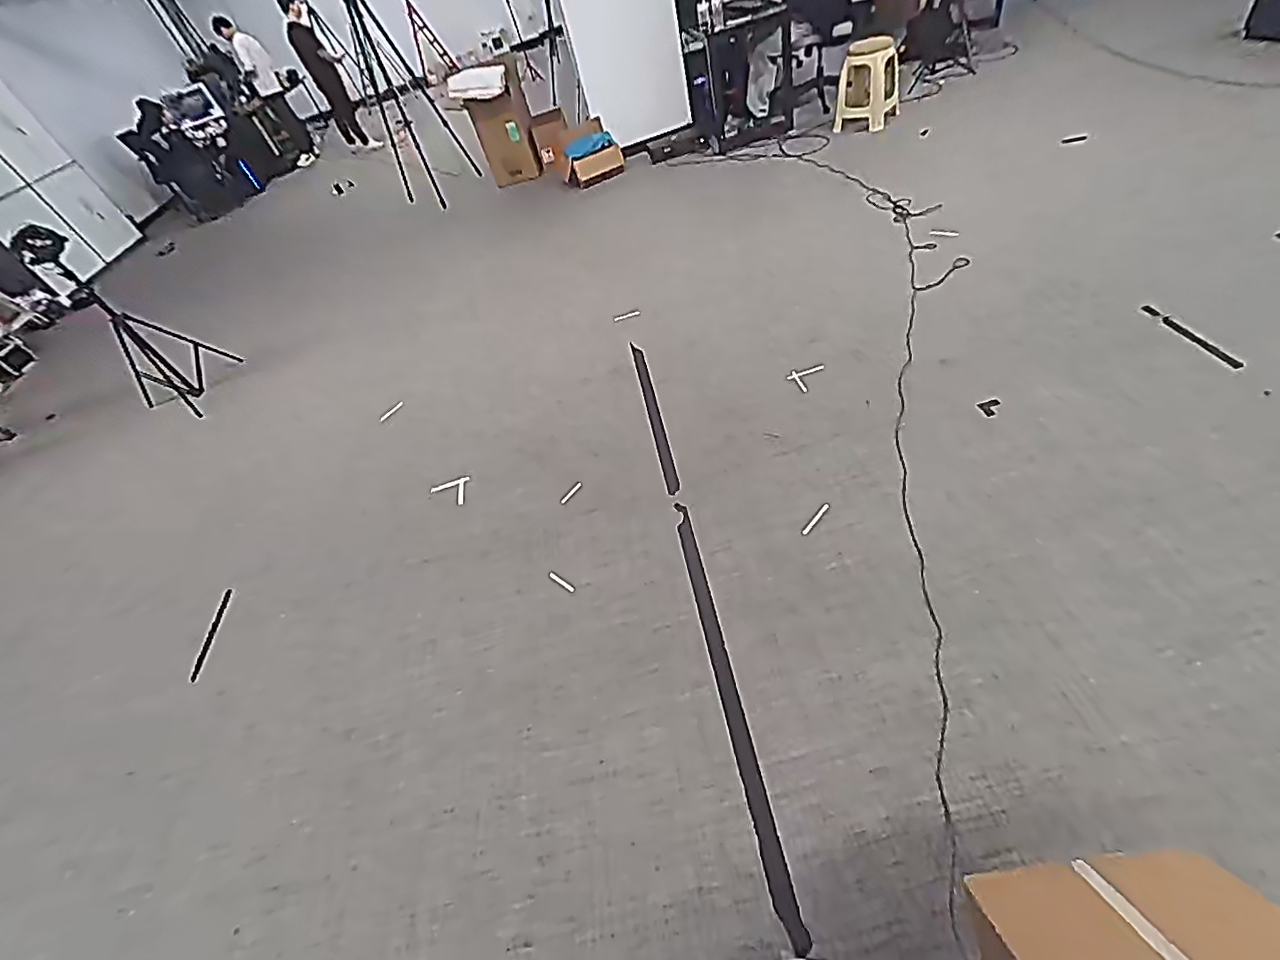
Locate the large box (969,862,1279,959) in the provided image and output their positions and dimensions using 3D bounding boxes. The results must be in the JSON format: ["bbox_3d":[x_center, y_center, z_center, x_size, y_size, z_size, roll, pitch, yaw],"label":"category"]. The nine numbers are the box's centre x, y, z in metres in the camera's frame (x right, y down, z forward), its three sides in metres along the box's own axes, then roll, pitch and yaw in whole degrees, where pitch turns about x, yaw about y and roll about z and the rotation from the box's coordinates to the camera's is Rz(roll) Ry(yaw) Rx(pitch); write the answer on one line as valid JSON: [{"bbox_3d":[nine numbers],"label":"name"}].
[{"bbox_3d":[0.617,0.684,0.544,0.320,0.408,0.320,-13,86,7],"label":"large box"}]
